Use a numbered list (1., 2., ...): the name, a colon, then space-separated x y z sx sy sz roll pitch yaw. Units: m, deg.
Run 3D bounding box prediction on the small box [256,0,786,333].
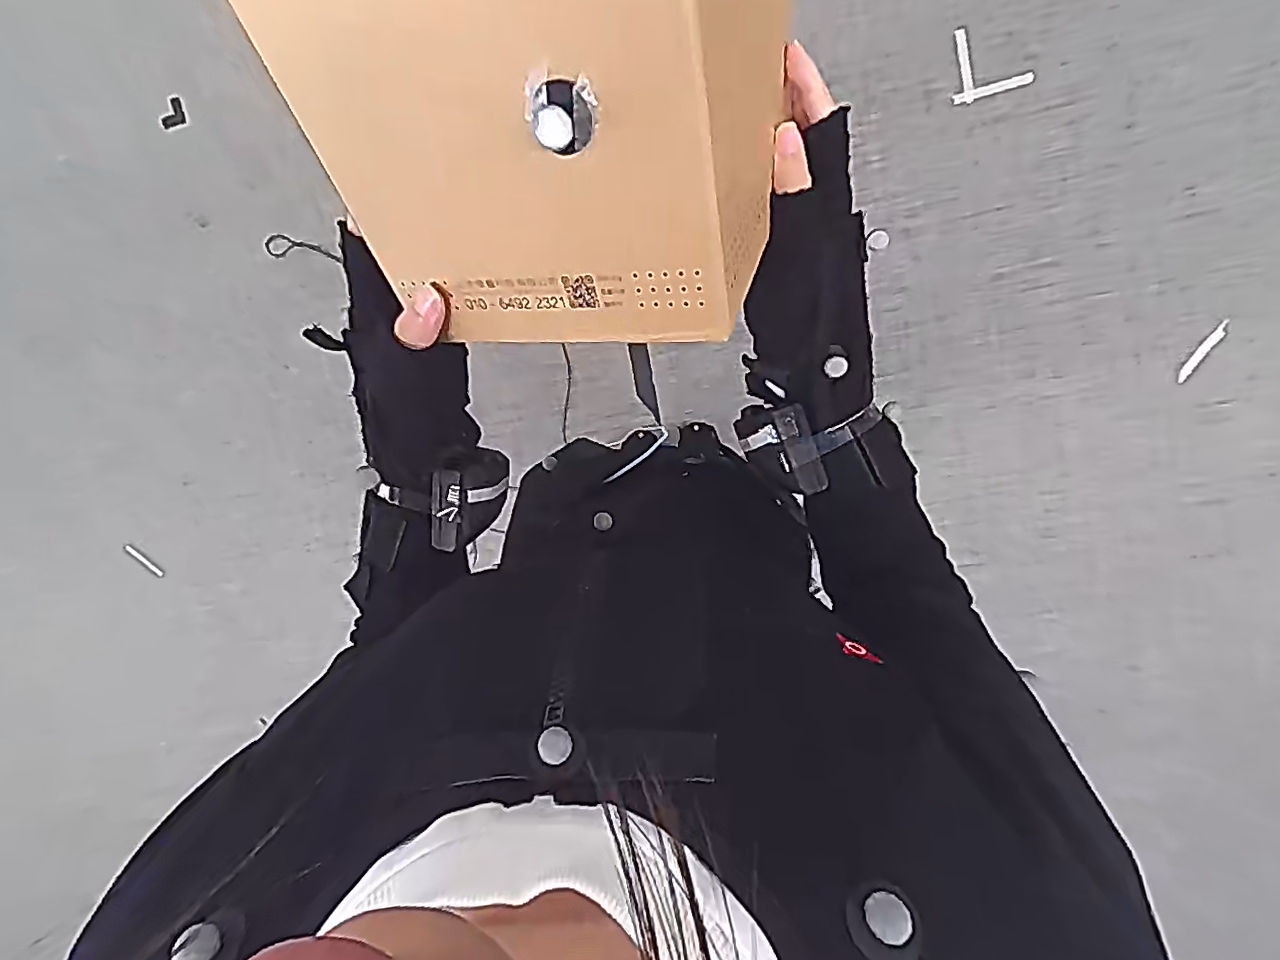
1. small box: -0.025 -0.187 0.264 0.168 0.179 0.176 7 140 22
